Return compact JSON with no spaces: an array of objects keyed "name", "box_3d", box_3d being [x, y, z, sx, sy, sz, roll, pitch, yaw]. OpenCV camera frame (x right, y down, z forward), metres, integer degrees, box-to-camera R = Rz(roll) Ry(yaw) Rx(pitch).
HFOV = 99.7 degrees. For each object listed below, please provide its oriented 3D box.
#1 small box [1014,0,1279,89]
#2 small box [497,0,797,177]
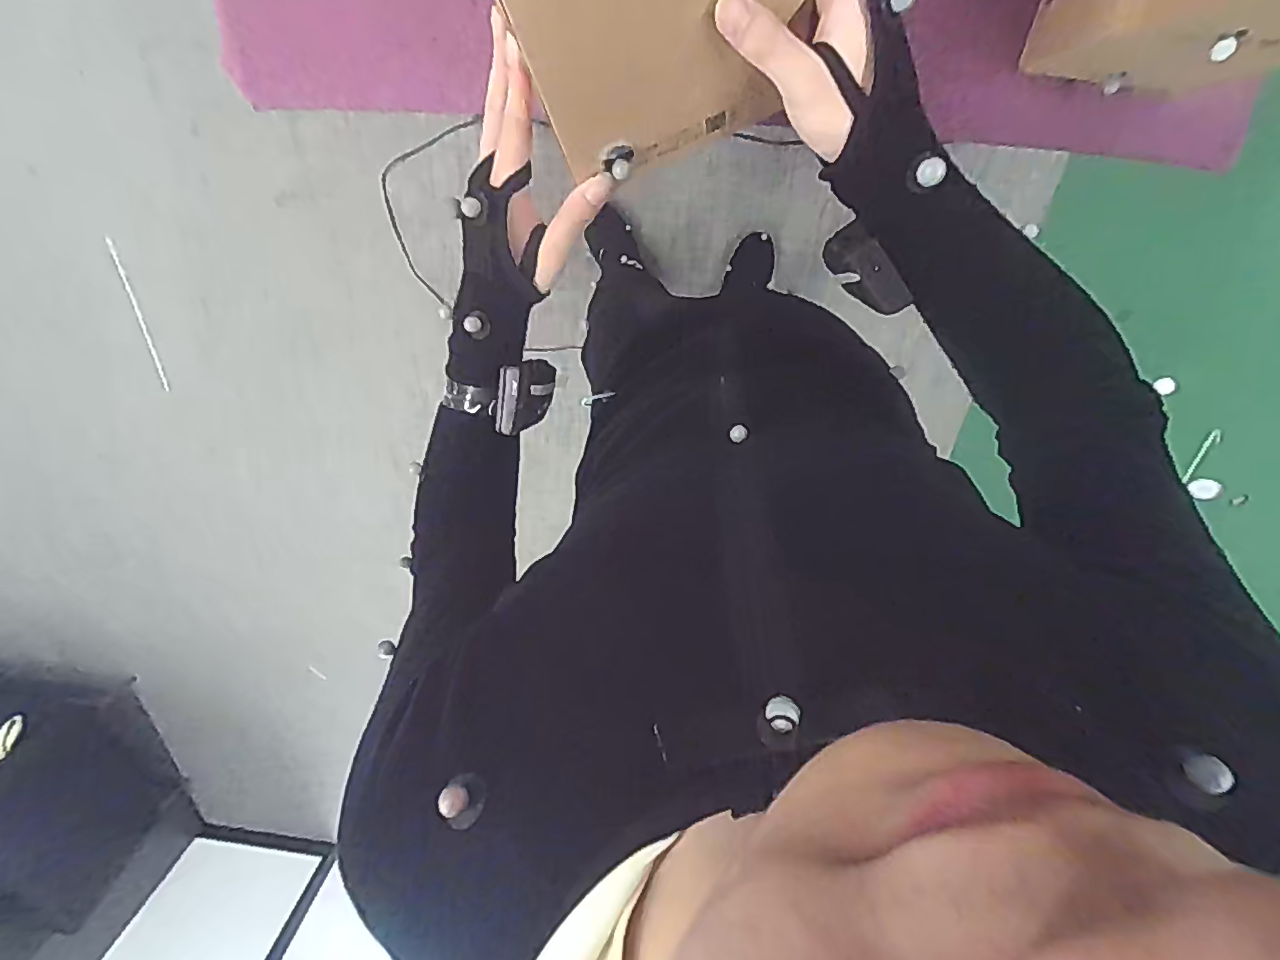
[{"name":"small box","box_3d":[0.506,-0.484,0.505,0.179,0.176,0.168,10,118,3]},{"name":"small box","box_3d":[-0.010,-0.321,0.323,0.168,0.176,0.179,-23,81,5]}]
